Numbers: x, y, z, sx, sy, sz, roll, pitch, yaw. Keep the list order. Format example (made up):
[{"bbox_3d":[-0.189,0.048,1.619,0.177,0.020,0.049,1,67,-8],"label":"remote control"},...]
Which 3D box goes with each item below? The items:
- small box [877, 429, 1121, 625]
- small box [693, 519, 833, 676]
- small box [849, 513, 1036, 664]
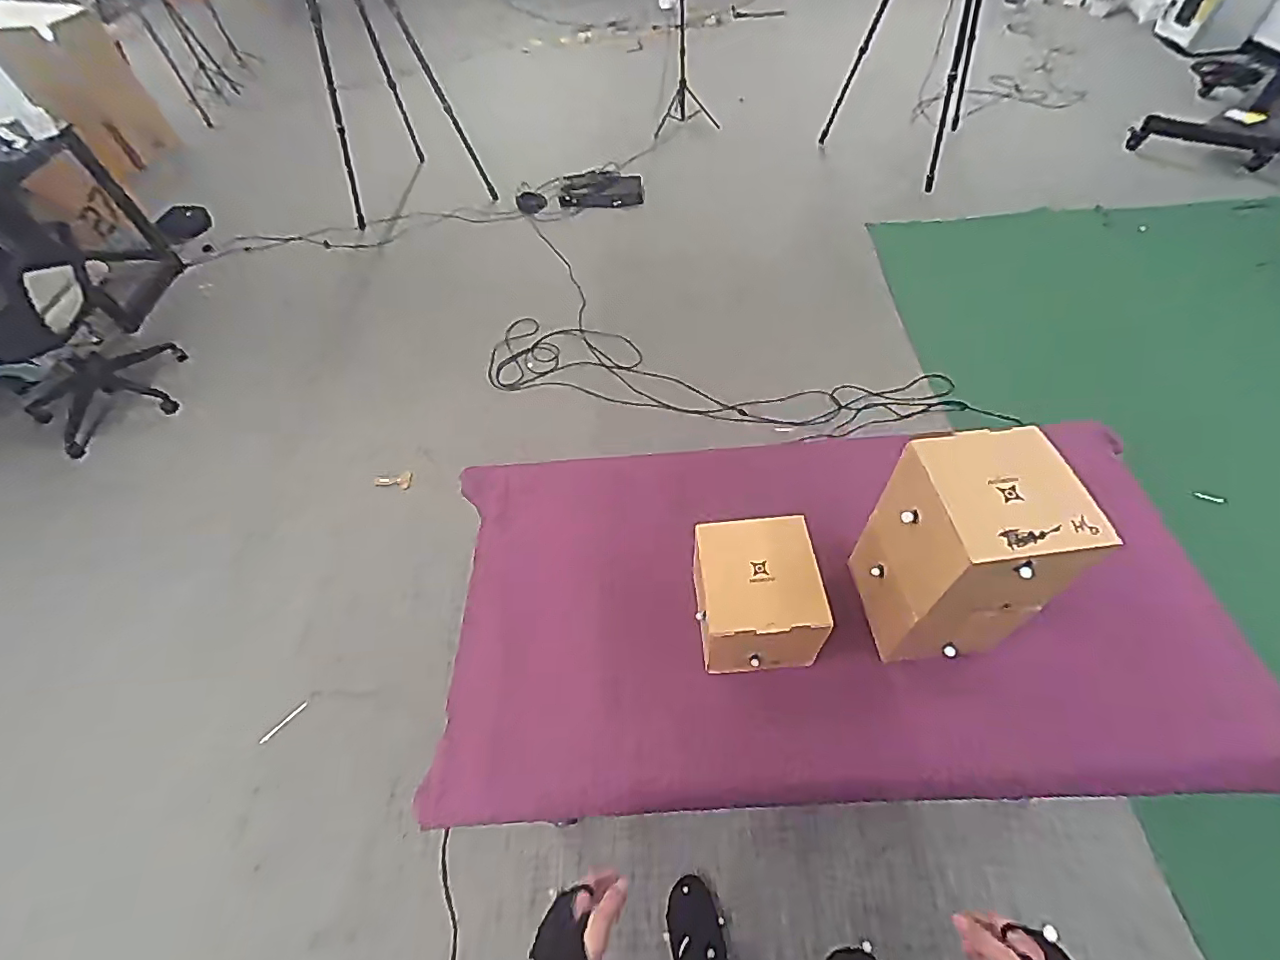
[{"bbox_3d":[0.426,0.062,0.685,0.168,0.176,0.179,-7,52,0],"label":"small box"},{"bbox_3d":[0.173,0.181,0.826,0.168,0.176,0.179,-5,54,1],"label":"small box"},{"bbox_3d":[0.435,0.160,0.817,0.168,0.176,0.179,-5,54,1],"label":"small box"}]
